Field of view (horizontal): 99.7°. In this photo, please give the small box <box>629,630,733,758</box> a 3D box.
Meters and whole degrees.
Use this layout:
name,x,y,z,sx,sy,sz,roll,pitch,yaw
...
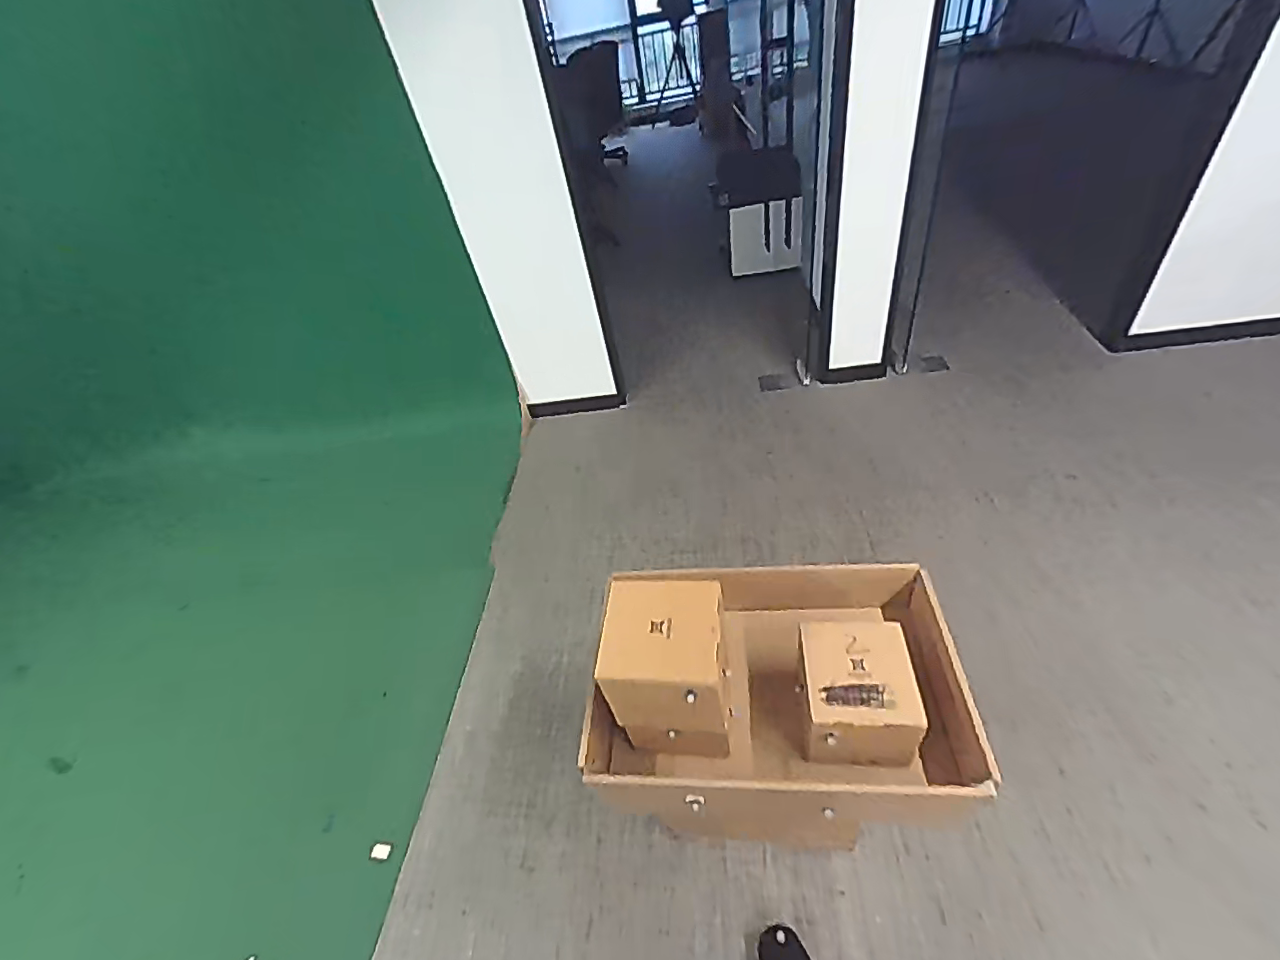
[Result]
name,x,y,z,sx,sy,sz,roll,pitch,yaw
small box,0.073,0.383,0.971,0.179,0.176,0.168,-2,44,11

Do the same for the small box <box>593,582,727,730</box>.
name,x,y,z,sx,sy,sz,roll,pitch,yaw
small box,0.042,0.277,0.851,0.179,0.176,0.168,-2,44,12
